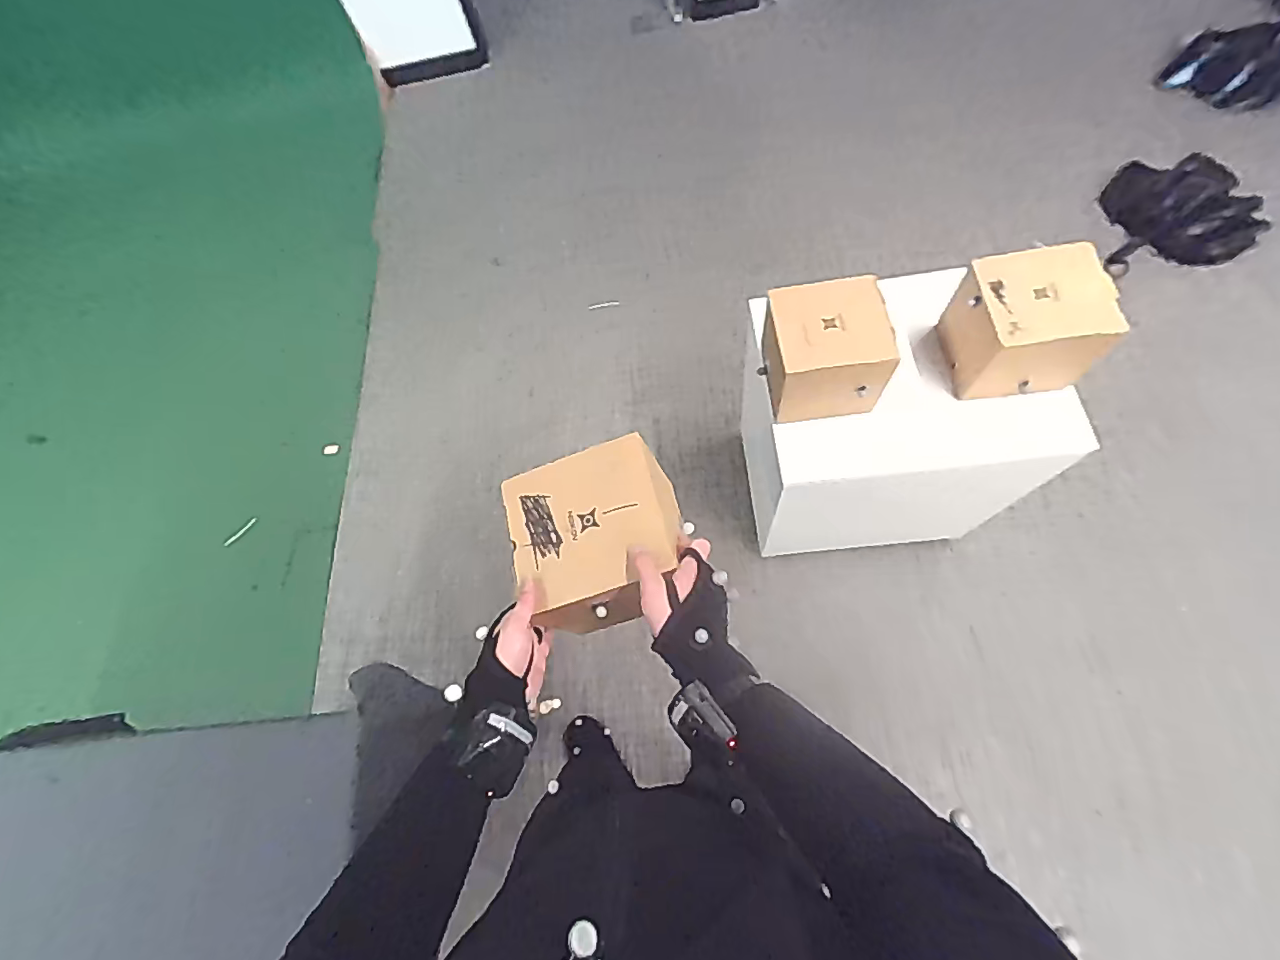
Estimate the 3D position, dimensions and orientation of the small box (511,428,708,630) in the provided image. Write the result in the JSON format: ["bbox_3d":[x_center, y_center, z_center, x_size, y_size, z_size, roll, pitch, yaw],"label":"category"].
[{"bbox_3d":[-0.030,0.069,0.640,0.179,0.176,0.168,-17,65,5],"label":"small box"}]

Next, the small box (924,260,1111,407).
[{"bbox_3d":[0.614,-0.237,0.905,0.179,0.176,0.168,-5,67,3],"label":"small box"}]

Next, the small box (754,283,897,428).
[{"bbox_3d":[0.303,-0.205,0.923,0.179,0.176,0.168,-7,66,2],"label":"small box"}]
